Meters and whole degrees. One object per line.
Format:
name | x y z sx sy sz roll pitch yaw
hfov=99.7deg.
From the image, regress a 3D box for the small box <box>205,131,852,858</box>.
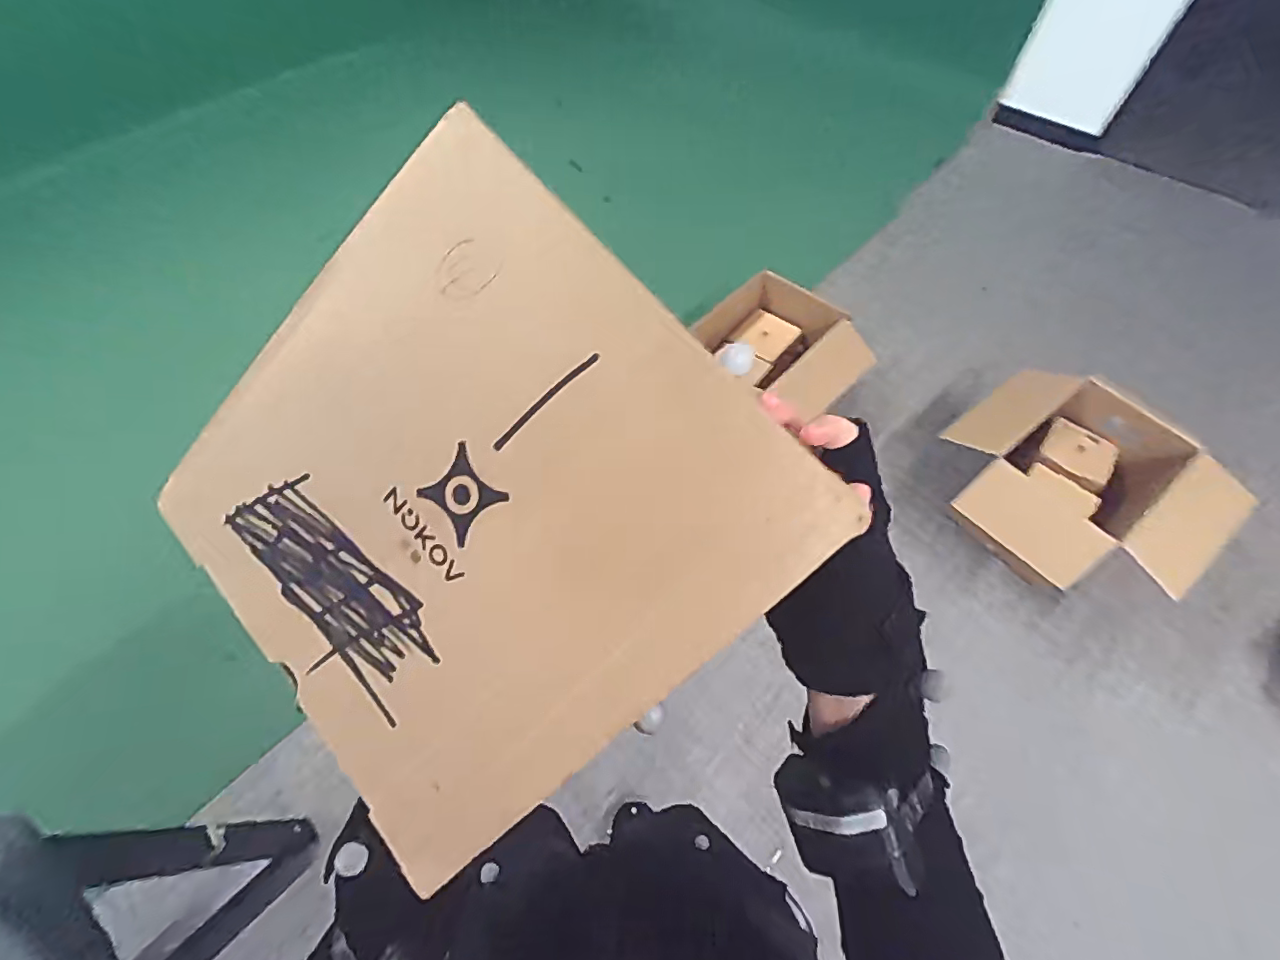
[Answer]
small box | -0.031 0.007 0.247 0.179 0.176 0.168 -43 80 13
